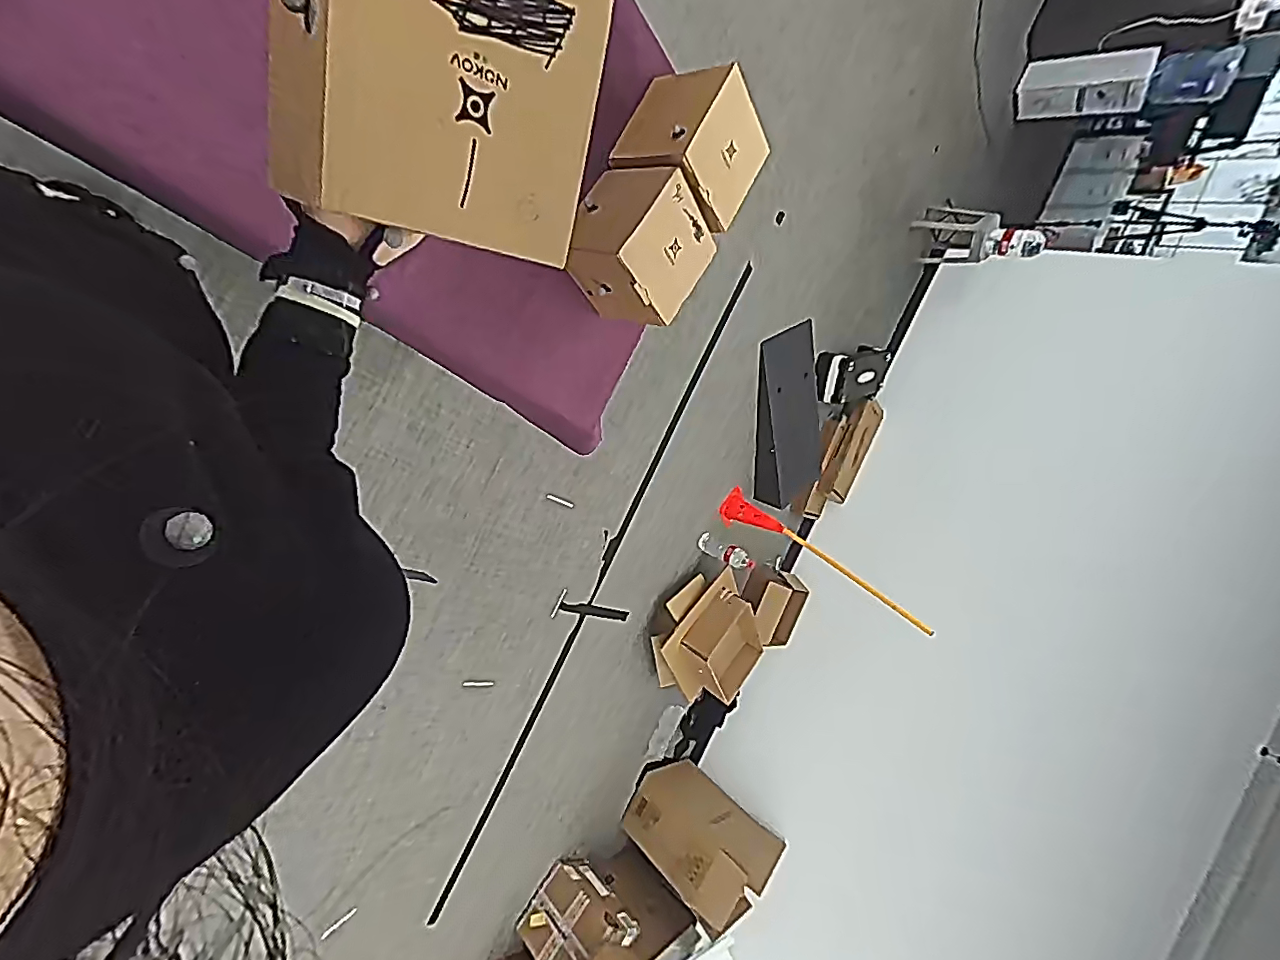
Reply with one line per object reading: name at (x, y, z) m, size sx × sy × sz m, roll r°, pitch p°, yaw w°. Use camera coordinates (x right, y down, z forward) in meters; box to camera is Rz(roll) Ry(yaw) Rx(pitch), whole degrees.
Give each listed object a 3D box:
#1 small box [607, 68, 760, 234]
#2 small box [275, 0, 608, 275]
small box at (0.074, -0.555, 0.928) m, size 0.168 × 0.176 × 0.179 m, roll 35°, pitch 82°, yaw -52°
small box at (-0.151, -0.267, 0.391) m, size 0.168 × 0.176 × 0.179 m, roll -4°, pitch 117°, yaw -42°
